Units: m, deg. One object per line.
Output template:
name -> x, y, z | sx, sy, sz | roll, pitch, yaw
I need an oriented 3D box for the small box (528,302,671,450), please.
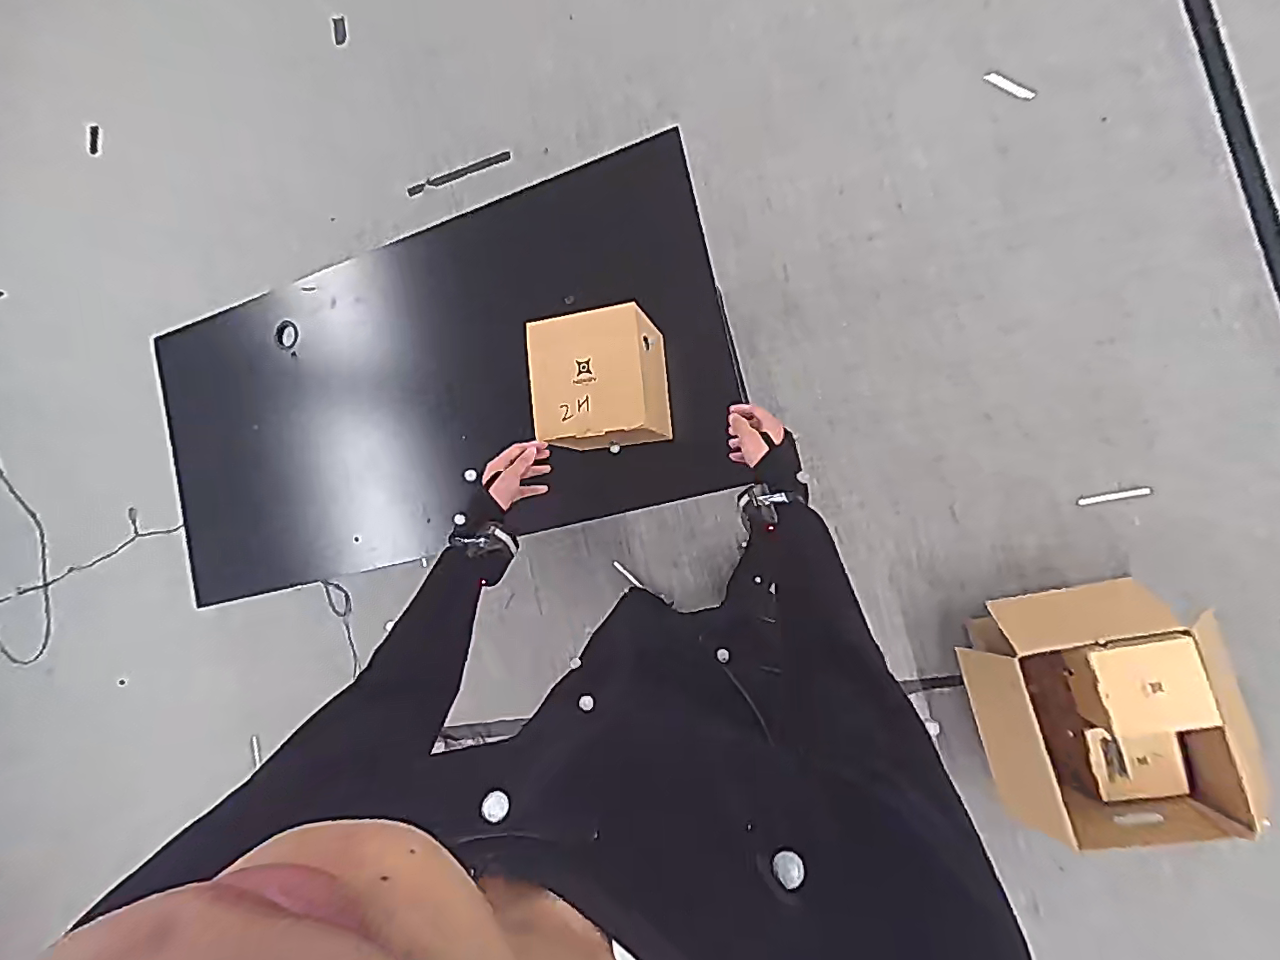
small box -> -0.055, -0.145, 0.821 | 0.168, 0.176, 0.179 | -6, 88, 16
